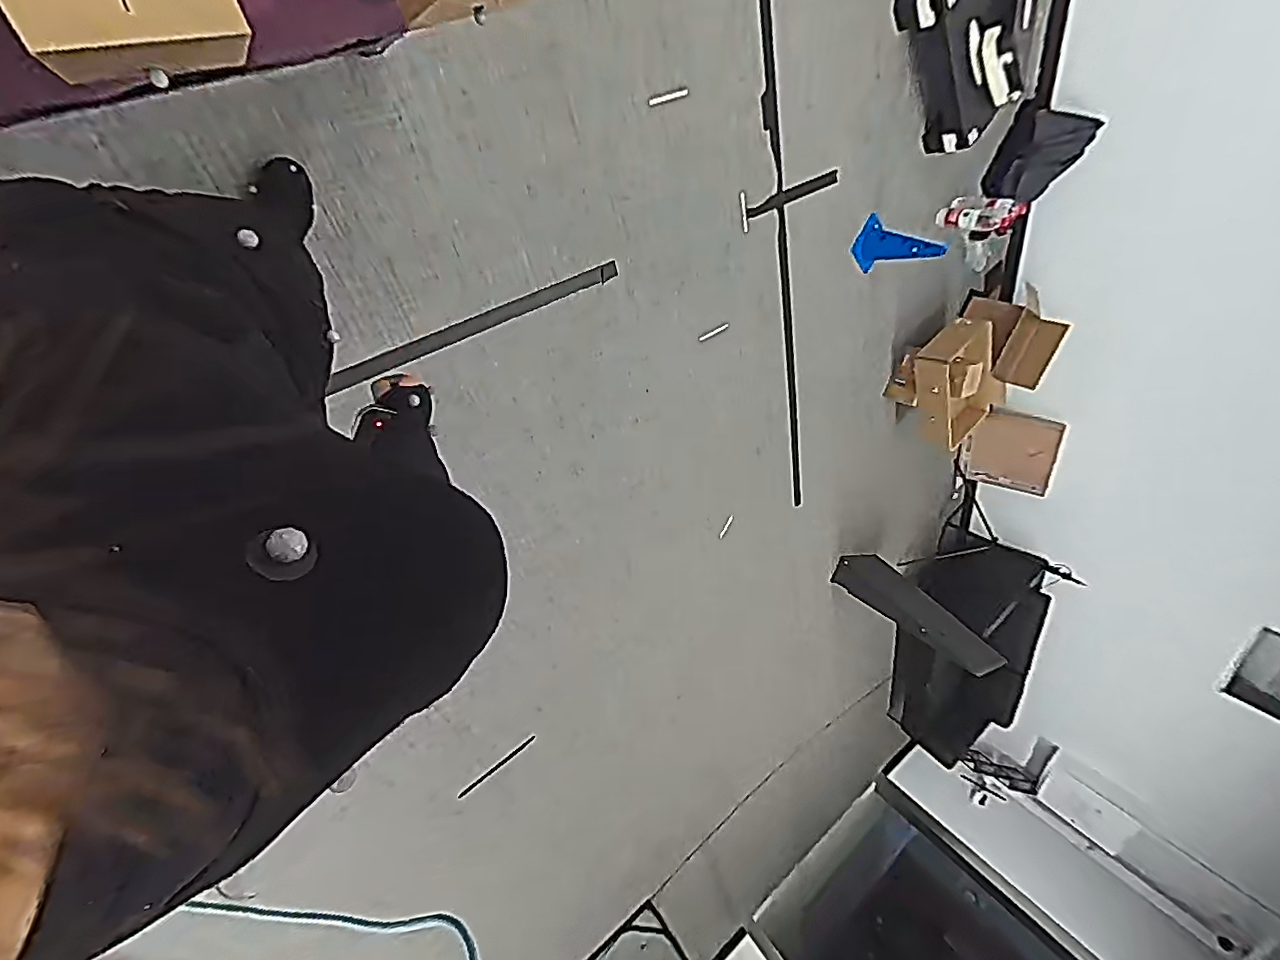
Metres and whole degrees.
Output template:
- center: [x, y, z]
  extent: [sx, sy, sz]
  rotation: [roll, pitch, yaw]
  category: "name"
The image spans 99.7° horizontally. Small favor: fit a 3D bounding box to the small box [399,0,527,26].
- center: [-0.203, -0.650, 0.605]
  extent: [0.168, 0.176, 0.179]
  rotation: [-31, 129, -20]
  category: "small box"
